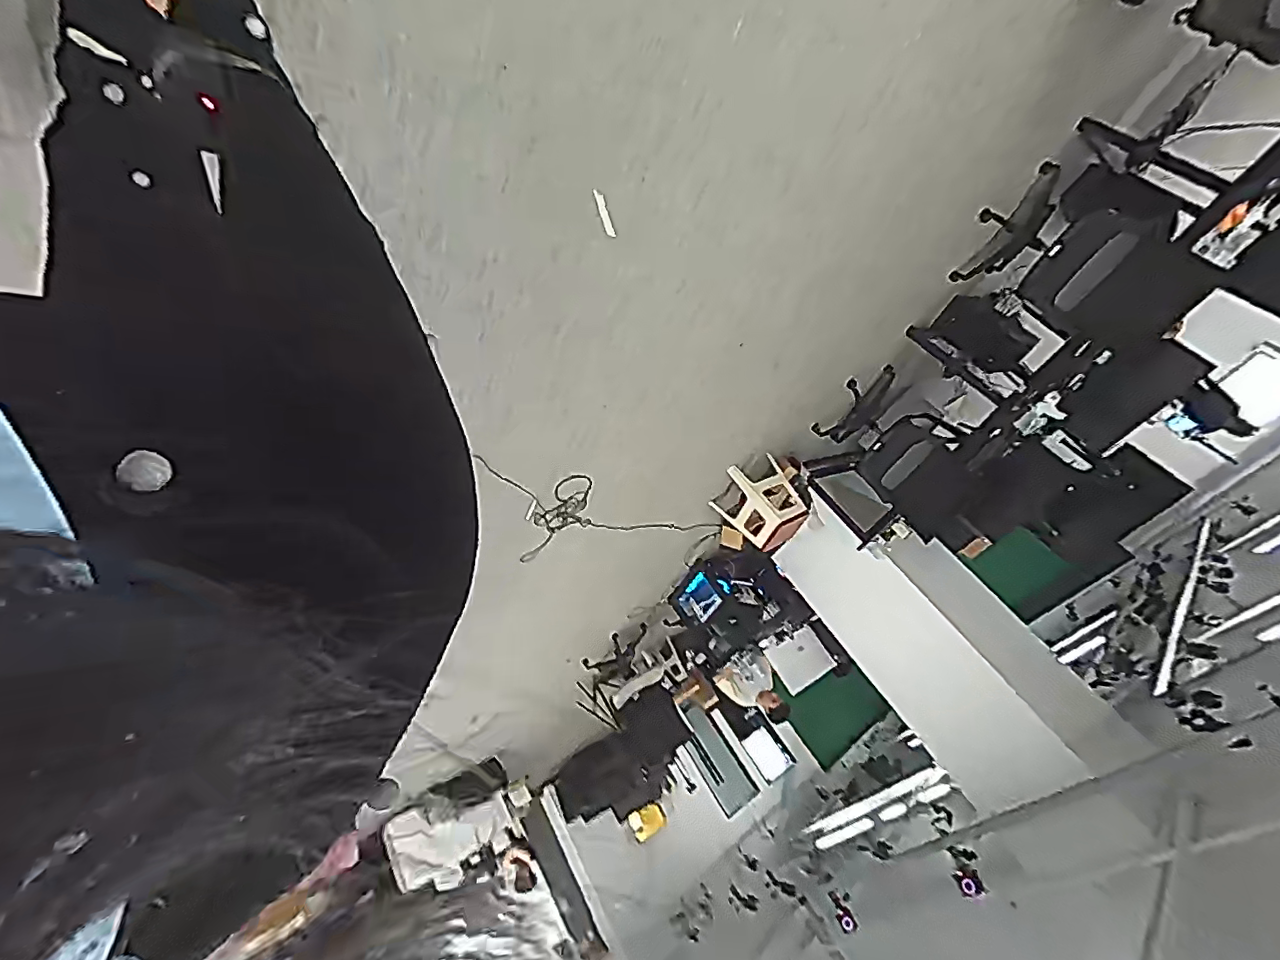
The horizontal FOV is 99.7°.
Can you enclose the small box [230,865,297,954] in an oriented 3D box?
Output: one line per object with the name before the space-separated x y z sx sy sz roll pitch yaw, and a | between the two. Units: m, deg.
small box | -1.275 1.452 1.834 0.168 0.176 0.179 -11 142 -39
